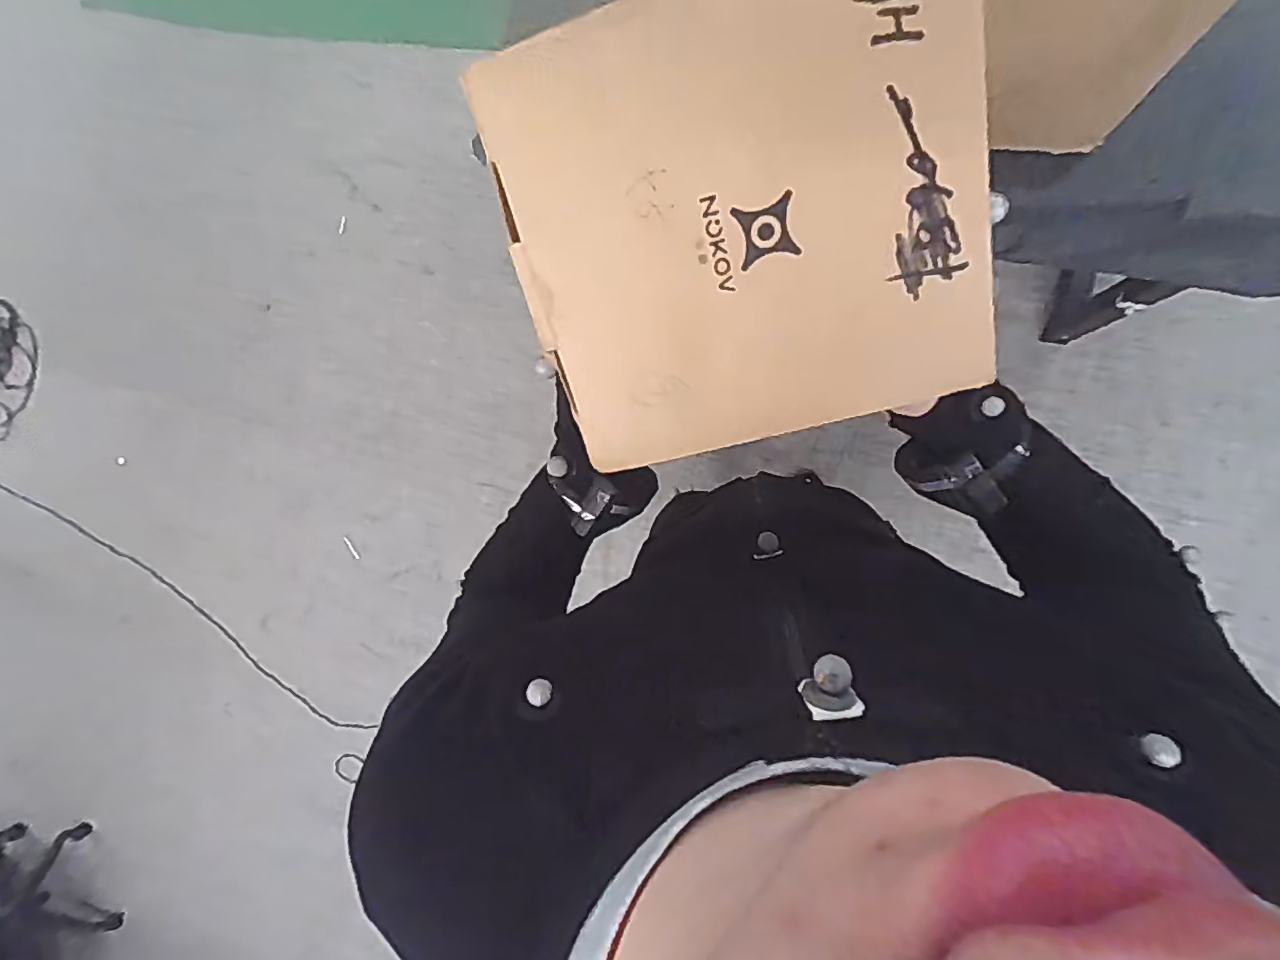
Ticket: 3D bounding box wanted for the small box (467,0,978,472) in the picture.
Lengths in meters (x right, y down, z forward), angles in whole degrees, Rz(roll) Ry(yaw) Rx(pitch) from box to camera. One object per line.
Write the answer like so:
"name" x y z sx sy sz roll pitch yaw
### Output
"small box" 0.046 -0.124 0.284 0.179 0.176 0.168 -11 114 12
